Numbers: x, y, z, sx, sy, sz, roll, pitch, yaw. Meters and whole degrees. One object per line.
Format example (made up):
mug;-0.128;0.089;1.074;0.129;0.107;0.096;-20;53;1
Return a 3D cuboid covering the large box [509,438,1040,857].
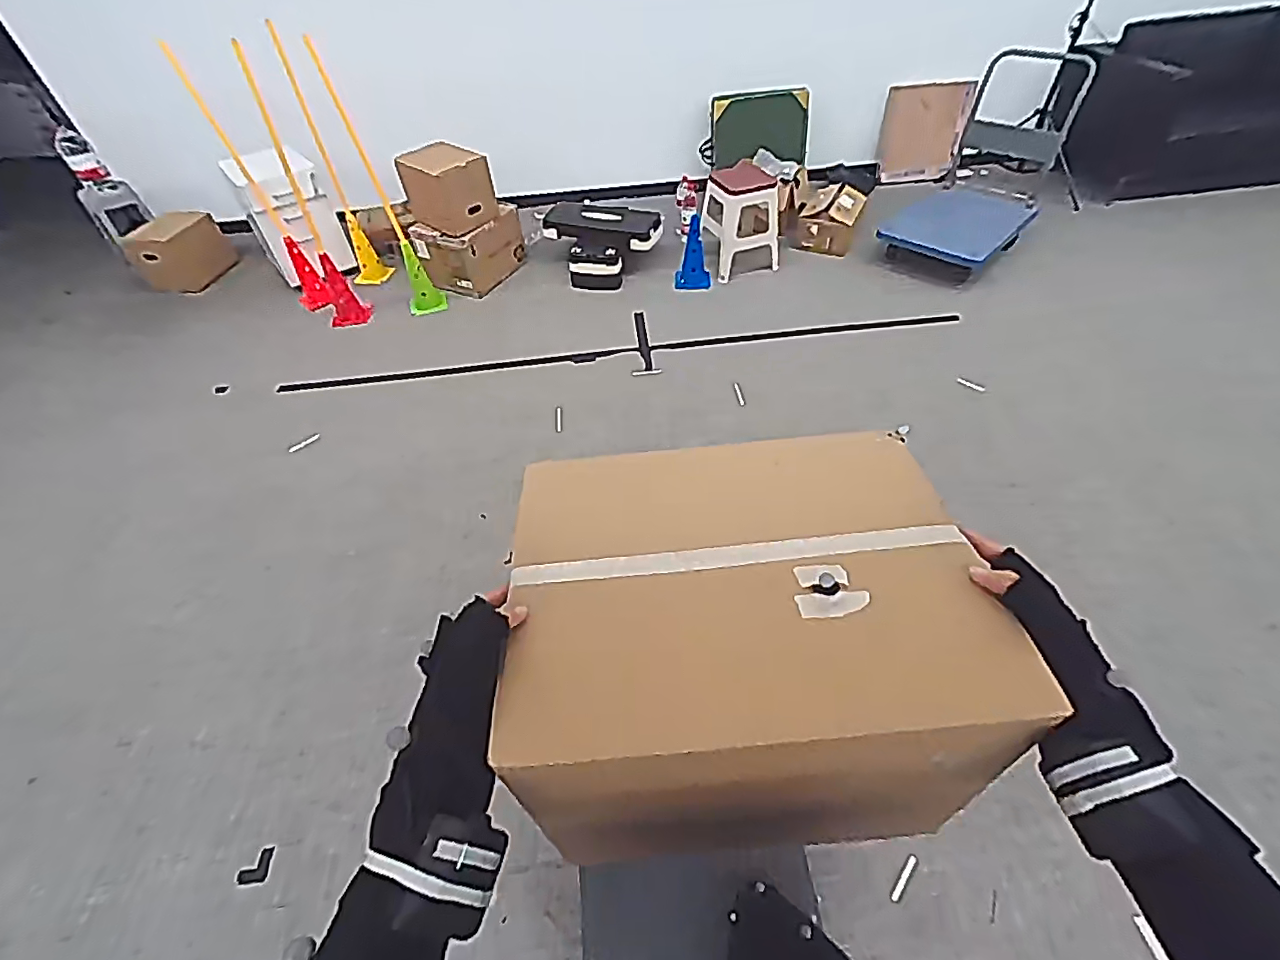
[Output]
large box;0.099;0.185;0.603;0.408;0.320;0.320;-6;44;1
